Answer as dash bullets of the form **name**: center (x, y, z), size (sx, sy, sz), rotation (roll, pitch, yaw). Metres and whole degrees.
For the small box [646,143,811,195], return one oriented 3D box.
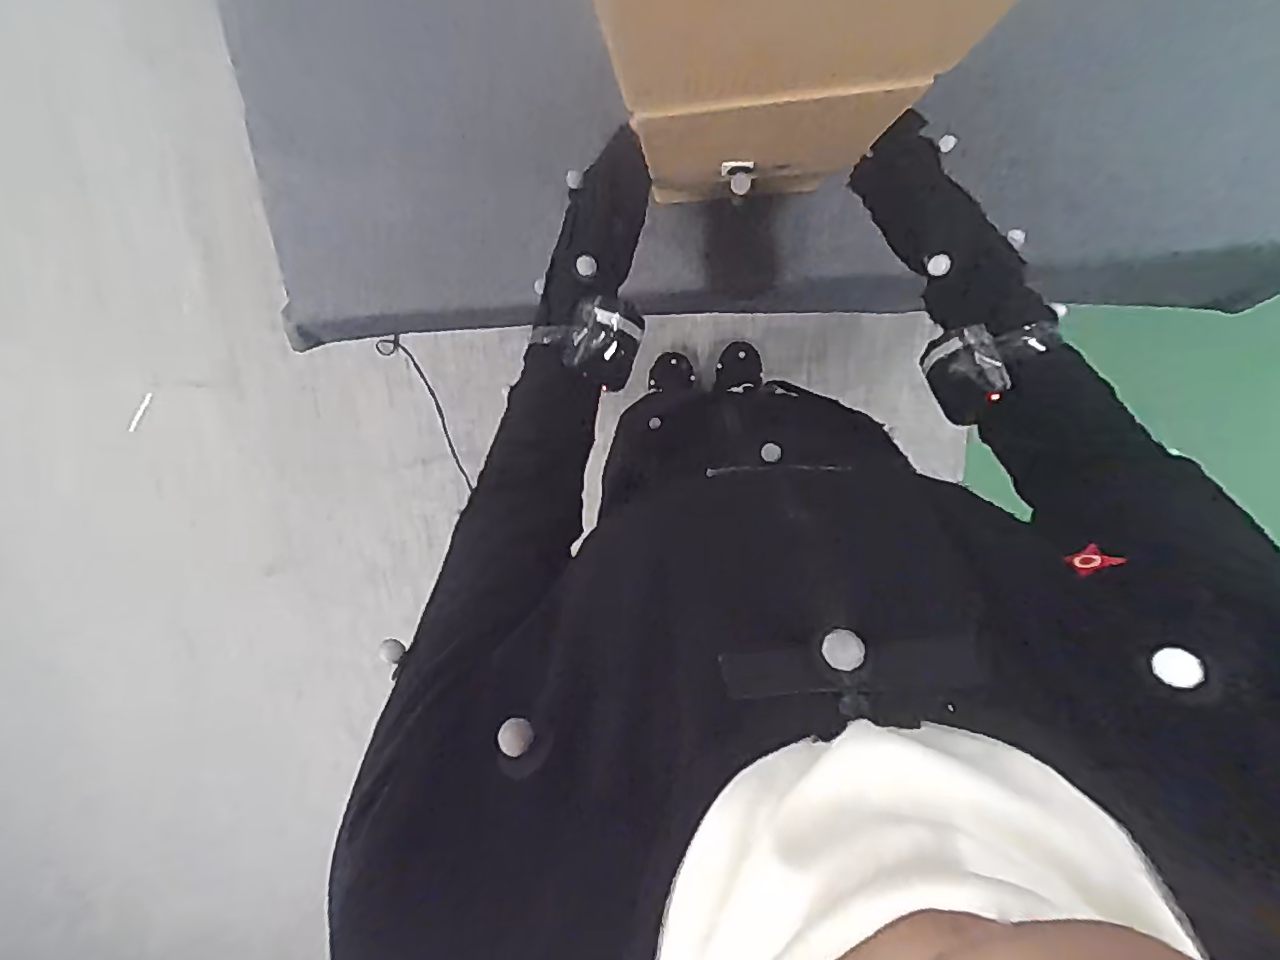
- **small box**: center (0.092, -0.383, 0.510), size (0.179, 0.176, 0.168), rotation (-3, 105, 5)

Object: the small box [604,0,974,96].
- **small box**: center (0.065, -0.282, 0.217), size (0.179, 0.176, 0.168), rotation (-2, 106, 6)

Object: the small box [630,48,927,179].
- **small box**: center (0.077, -0.322, 0.358), size (0.168, 0.176, 0.179), rotation (-2, 106, 6)
